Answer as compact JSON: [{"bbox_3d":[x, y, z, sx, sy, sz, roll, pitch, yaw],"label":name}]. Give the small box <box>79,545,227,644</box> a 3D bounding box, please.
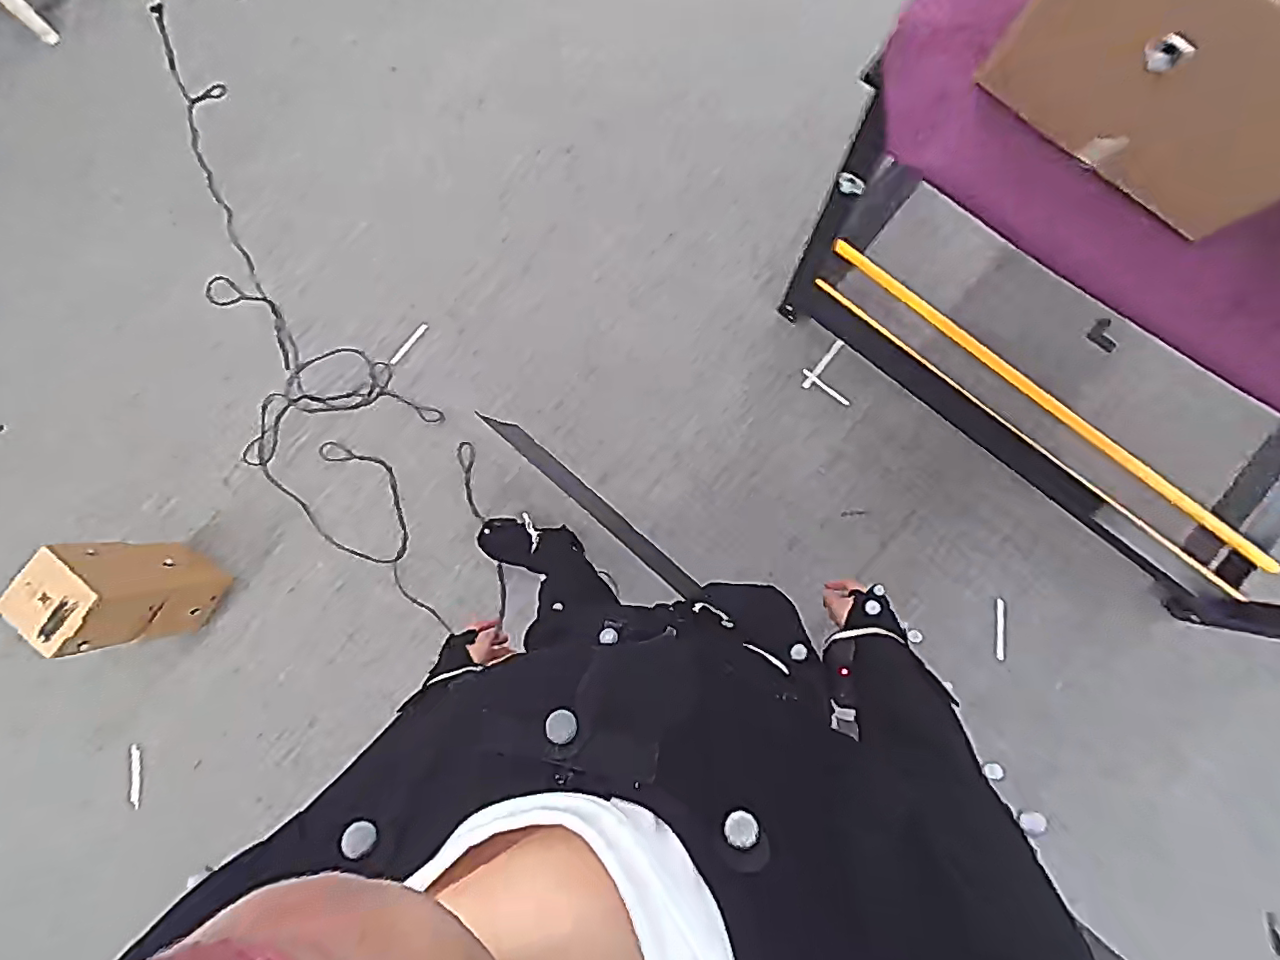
[{"bbox_3d":[-1.195,0.276,1.339,0.179,0.176,0.168,33,88,5],"label":"small box"}]
